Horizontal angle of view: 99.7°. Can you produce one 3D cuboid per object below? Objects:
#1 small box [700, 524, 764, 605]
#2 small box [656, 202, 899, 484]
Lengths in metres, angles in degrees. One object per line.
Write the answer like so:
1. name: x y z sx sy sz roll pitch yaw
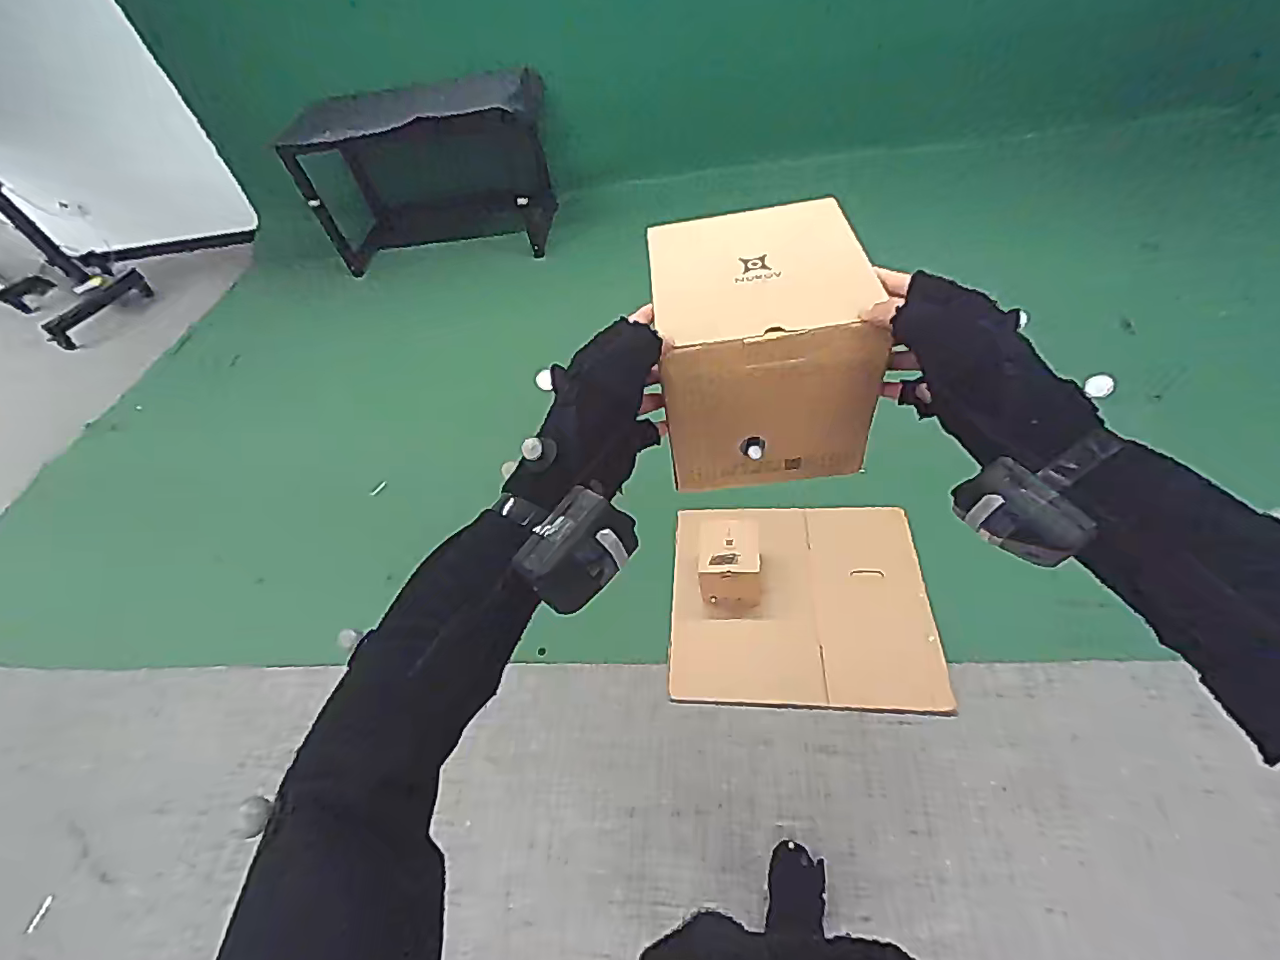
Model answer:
1. small box: 0.265 0.242 1.534 0.168 0.176 0.179 -1 49 12
2. small box: 0.105 -0.119 0.489 0.168 0.176 0.179 -6 52 5
